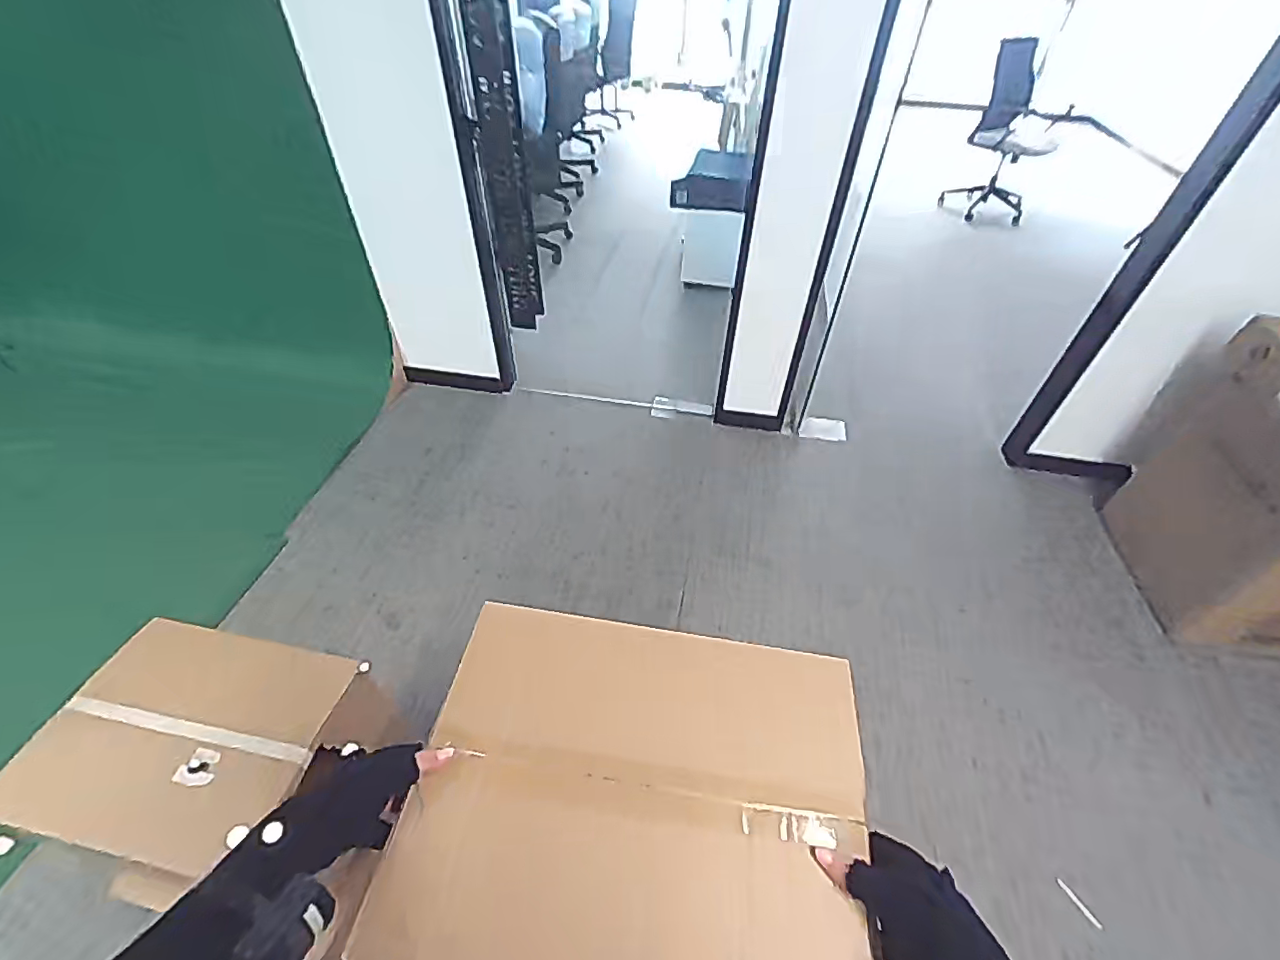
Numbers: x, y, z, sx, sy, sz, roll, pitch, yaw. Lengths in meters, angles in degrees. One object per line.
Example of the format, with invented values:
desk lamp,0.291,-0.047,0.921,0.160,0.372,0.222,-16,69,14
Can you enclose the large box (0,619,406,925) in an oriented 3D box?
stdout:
large box,-0.685,0.483,0.913,0.408,0.320,0.320,10,42,7
